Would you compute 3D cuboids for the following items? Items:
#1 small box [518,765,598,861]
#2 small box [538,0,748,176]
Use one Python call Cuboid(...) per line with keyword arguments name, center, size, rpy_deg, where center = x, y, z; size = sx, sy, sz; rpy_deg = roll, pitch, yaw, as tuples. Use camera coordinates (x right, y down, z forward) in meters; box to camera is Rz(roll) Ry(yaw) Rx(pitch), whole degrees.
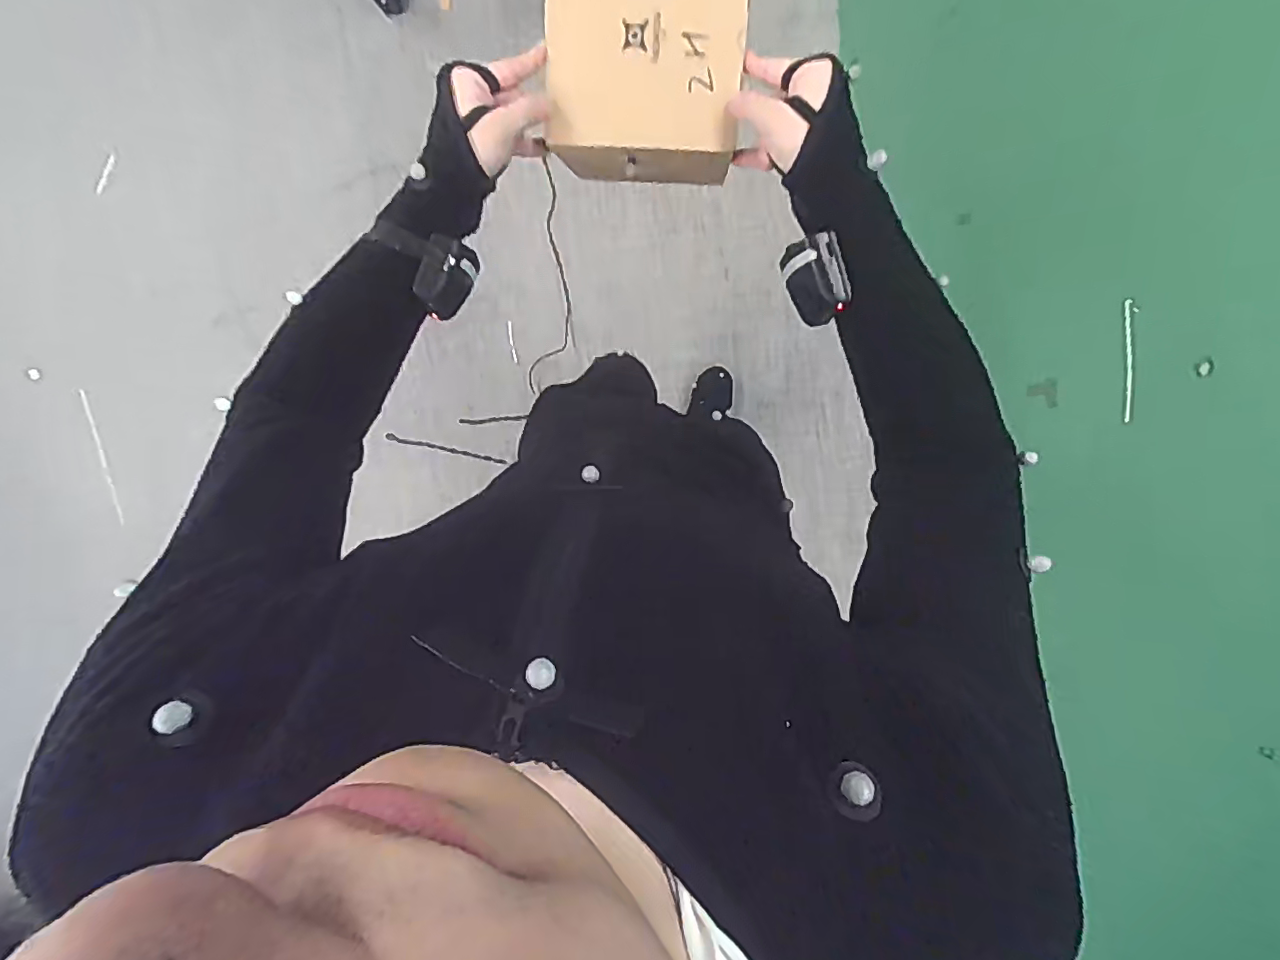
Cuboid(name="small box", center=(-0.220, 0.927, 1.517), size=(0.179, 0.176, 0.168), rpy_deg=(-7, 97, 9))
Cuboid(name="small box", center=(0.007, -0.405, 0.525), size=(0.179, 0.176, 0.168), rpy_deg=(4, 110, 3))
